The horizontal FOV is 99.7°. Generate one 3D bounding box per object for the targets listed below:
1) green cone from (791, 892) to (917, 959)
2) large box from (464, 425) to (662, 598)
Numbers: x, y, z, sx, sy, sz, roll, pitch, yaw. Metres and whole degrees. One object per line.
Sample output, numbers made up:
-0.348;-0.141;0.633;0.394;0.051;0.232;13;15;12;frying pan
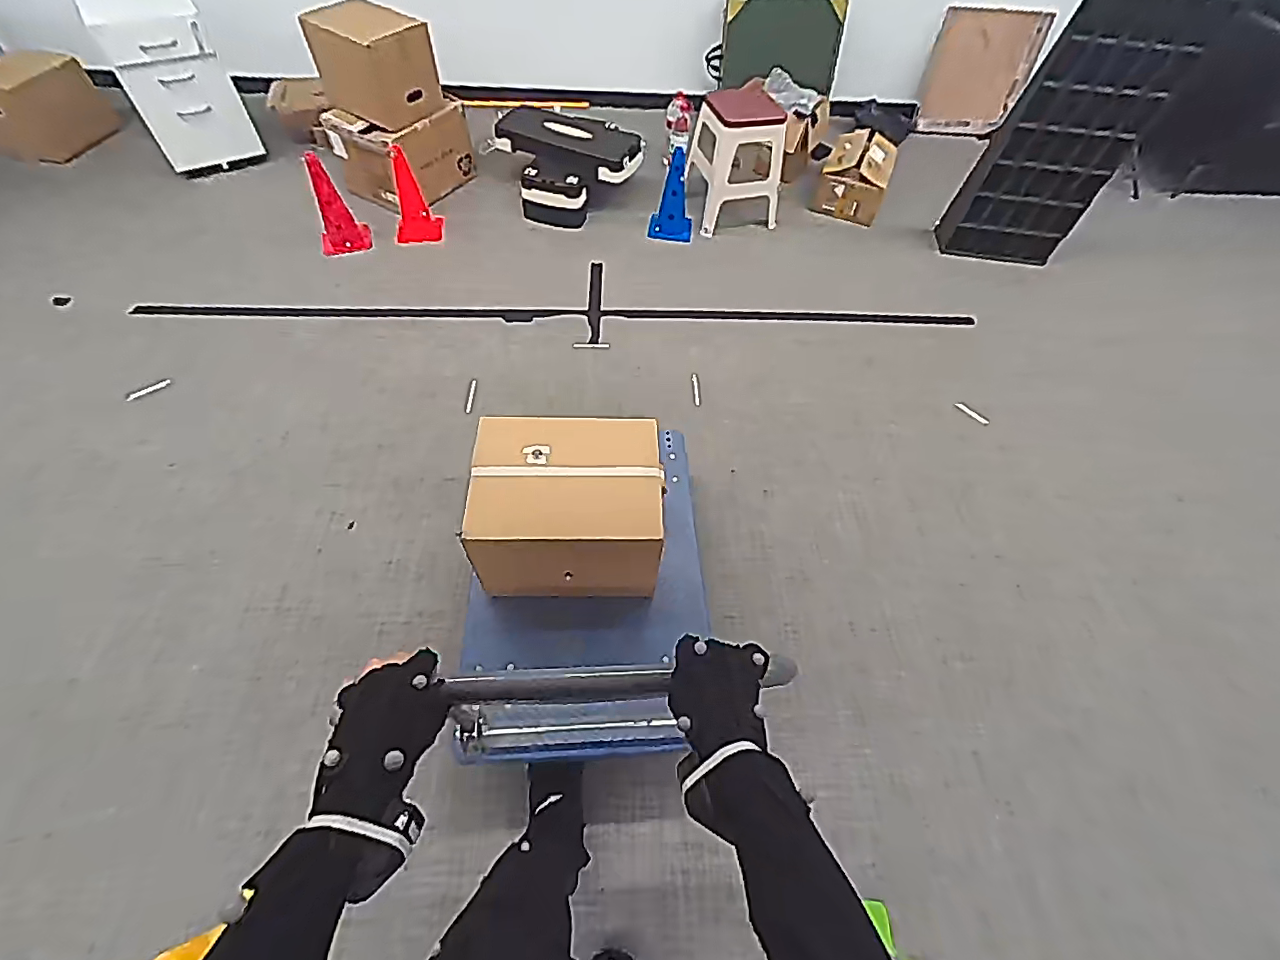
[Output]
0.425;0.872;0.960;0.202;0.368;0.200;4;56;-2;green cone
-0.162;0.083;1.290;0.408;0.320;0.320;0;57;-3;large box
